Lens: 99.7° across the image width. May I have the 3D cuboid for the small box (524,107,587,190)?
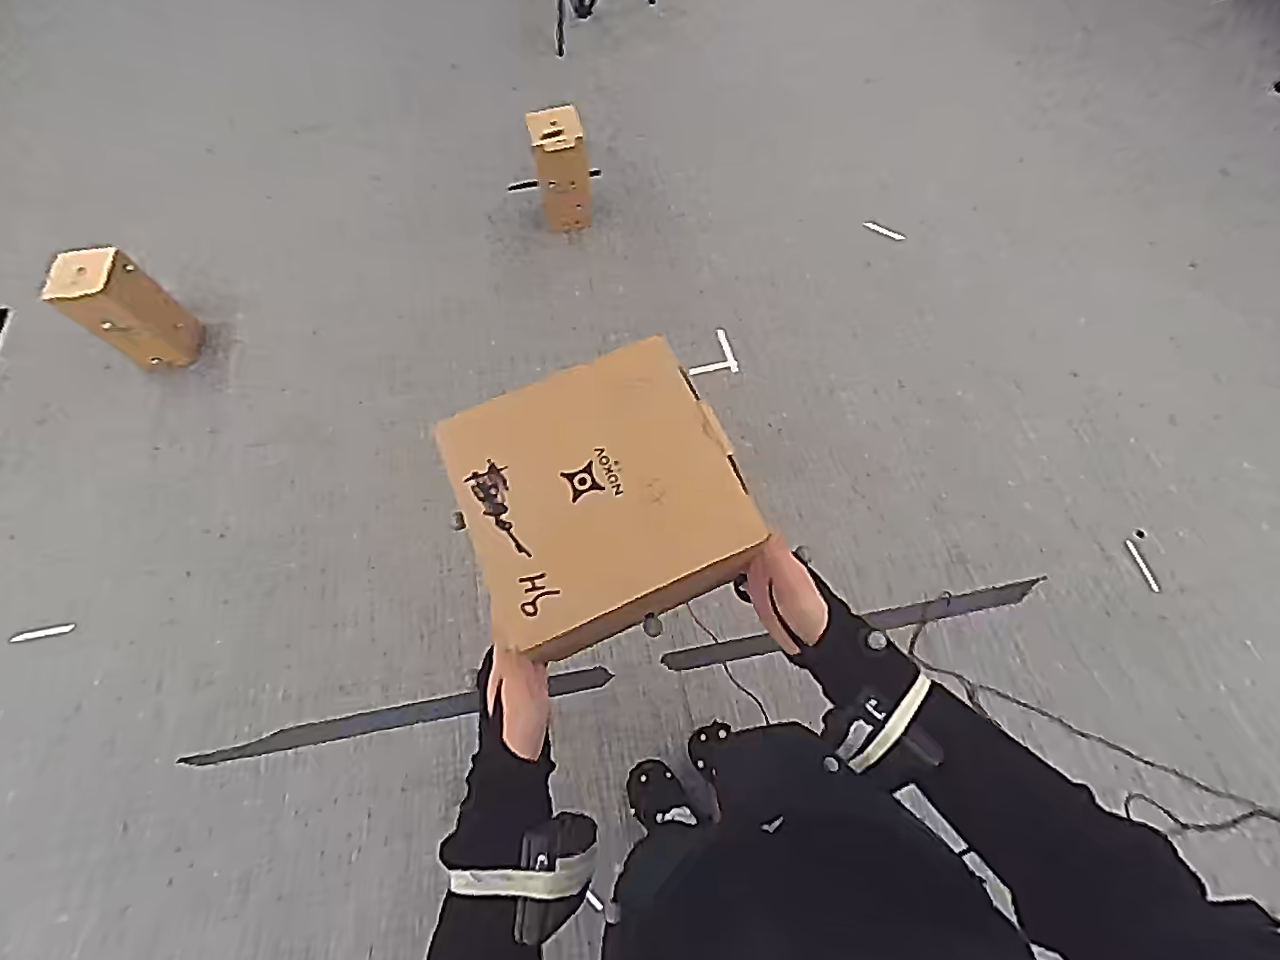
[{"bbox_3d":[-0.279,-1.102,1.811,0.168,0.176,0.179,-14,66,-5],"label":"small box"}]

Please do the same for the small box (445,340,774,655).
[{"bbox_3d":[-0.025,0.026,0.428,0.179,0.176,0.168,-21,71,-8],"label":"small box"}]

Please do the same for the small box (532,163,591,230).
[{"bbox_3d":[-0.280,-1.034,1.961,0.168,0.176,0.179,-15,65,-6],"label":"small box"}]

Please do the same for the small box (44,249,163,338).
[{"bbox_3d":[-1.569,-0.548,1.595,0.168,0.176,0.179,-8,67,-1],"label":"small box"}]
